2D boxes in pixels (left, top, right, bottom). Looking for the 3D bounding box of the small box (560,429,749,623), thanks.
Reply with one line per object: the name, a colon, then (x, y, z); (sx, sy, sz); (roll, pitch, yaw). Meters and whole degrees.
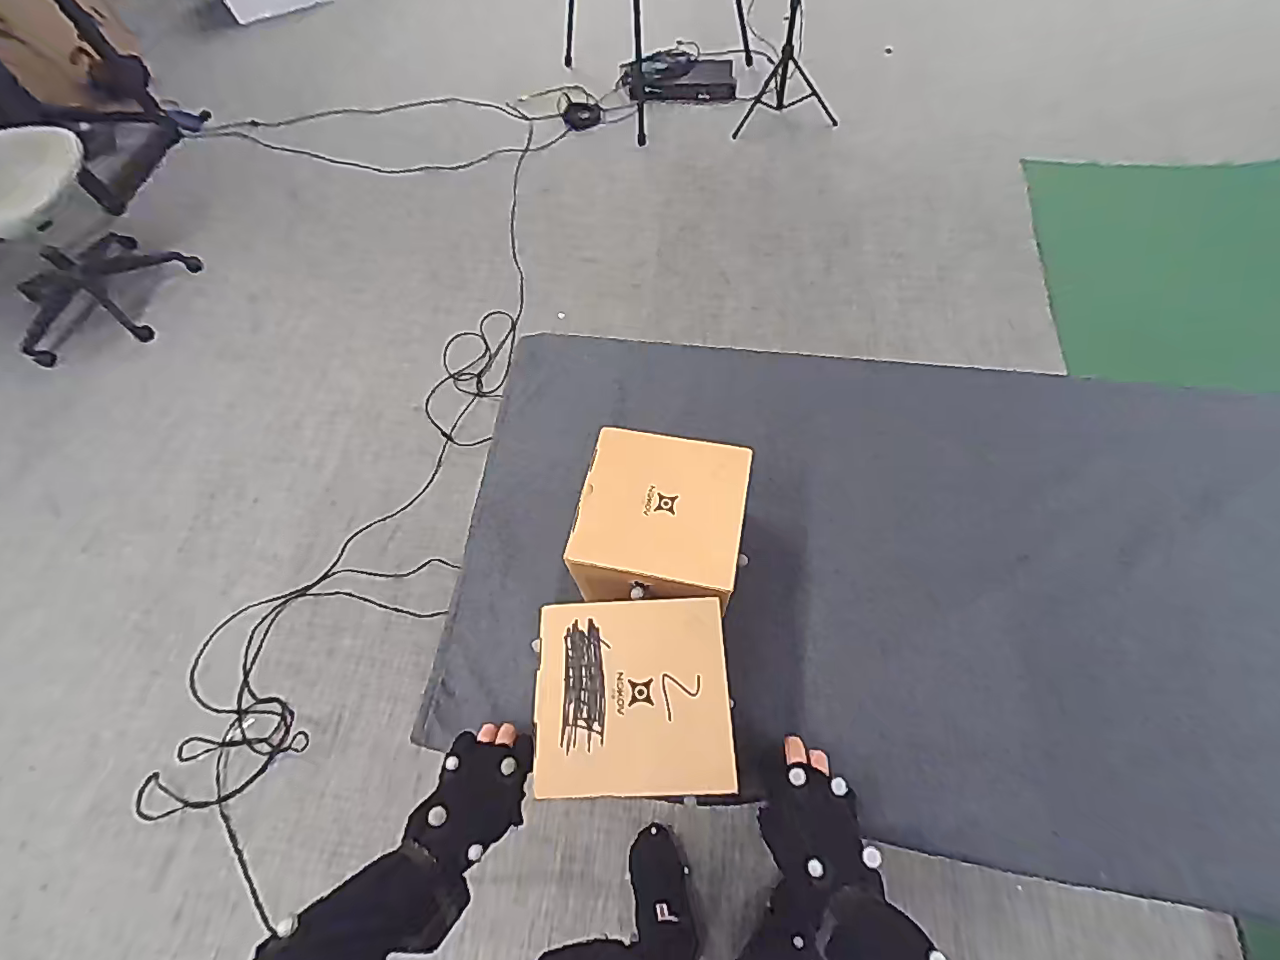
small box: (0.025, 0.062, 0.642); (0.179, 0.176, 0.168); (8, 63, 9)
